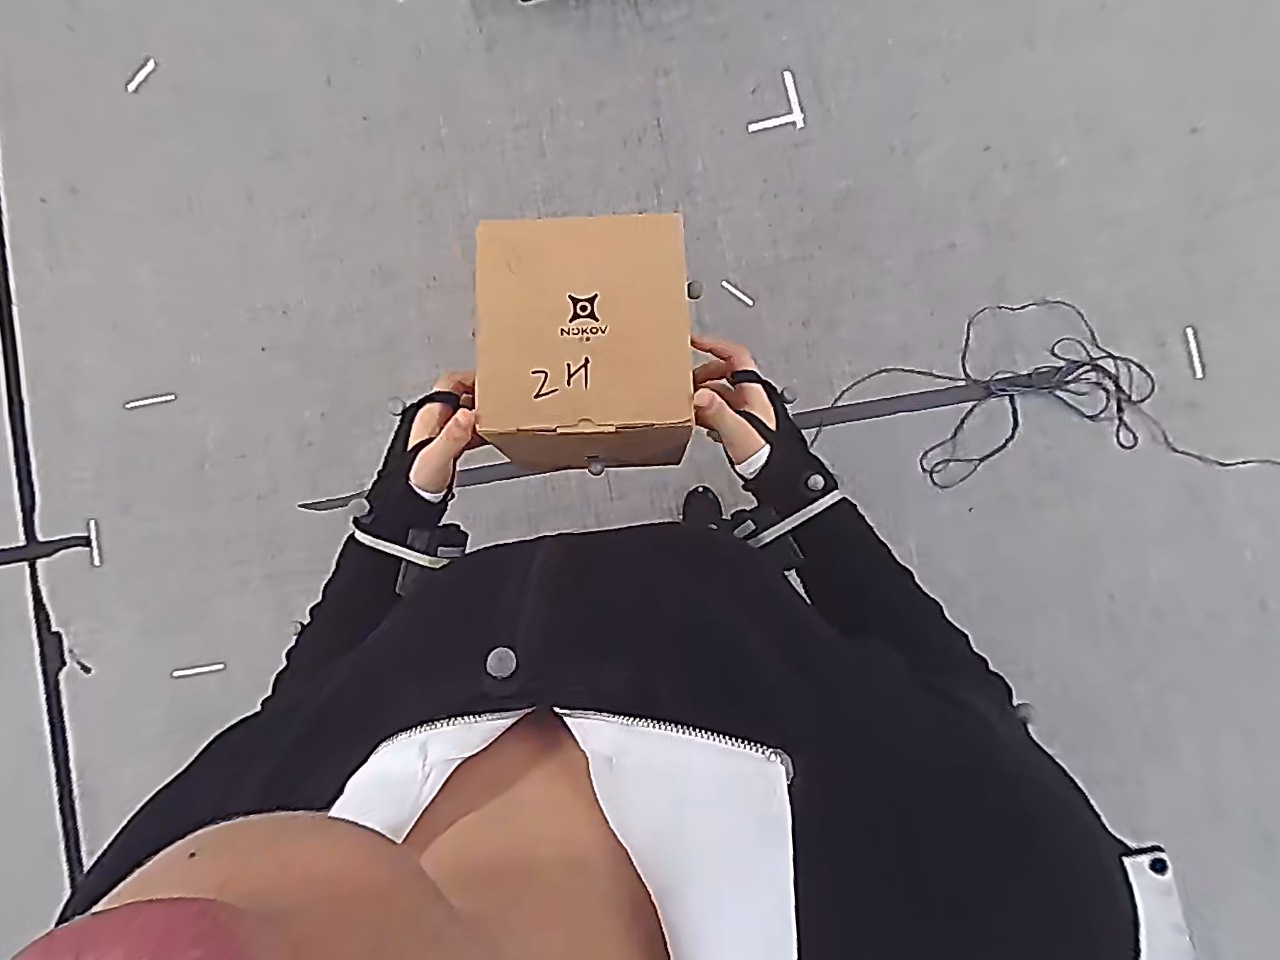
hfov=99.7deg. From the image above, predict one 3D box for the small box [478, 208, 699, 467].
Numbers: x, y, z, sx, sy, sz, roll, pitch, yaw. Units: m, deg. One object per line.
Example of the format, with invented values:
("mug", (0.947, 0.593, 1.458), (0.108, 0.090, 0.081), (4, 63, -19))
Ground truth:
("small box", (-0.039, -0.114, 0.490), (0.168, 0.176, 0.179), (-2, 81, 0))
